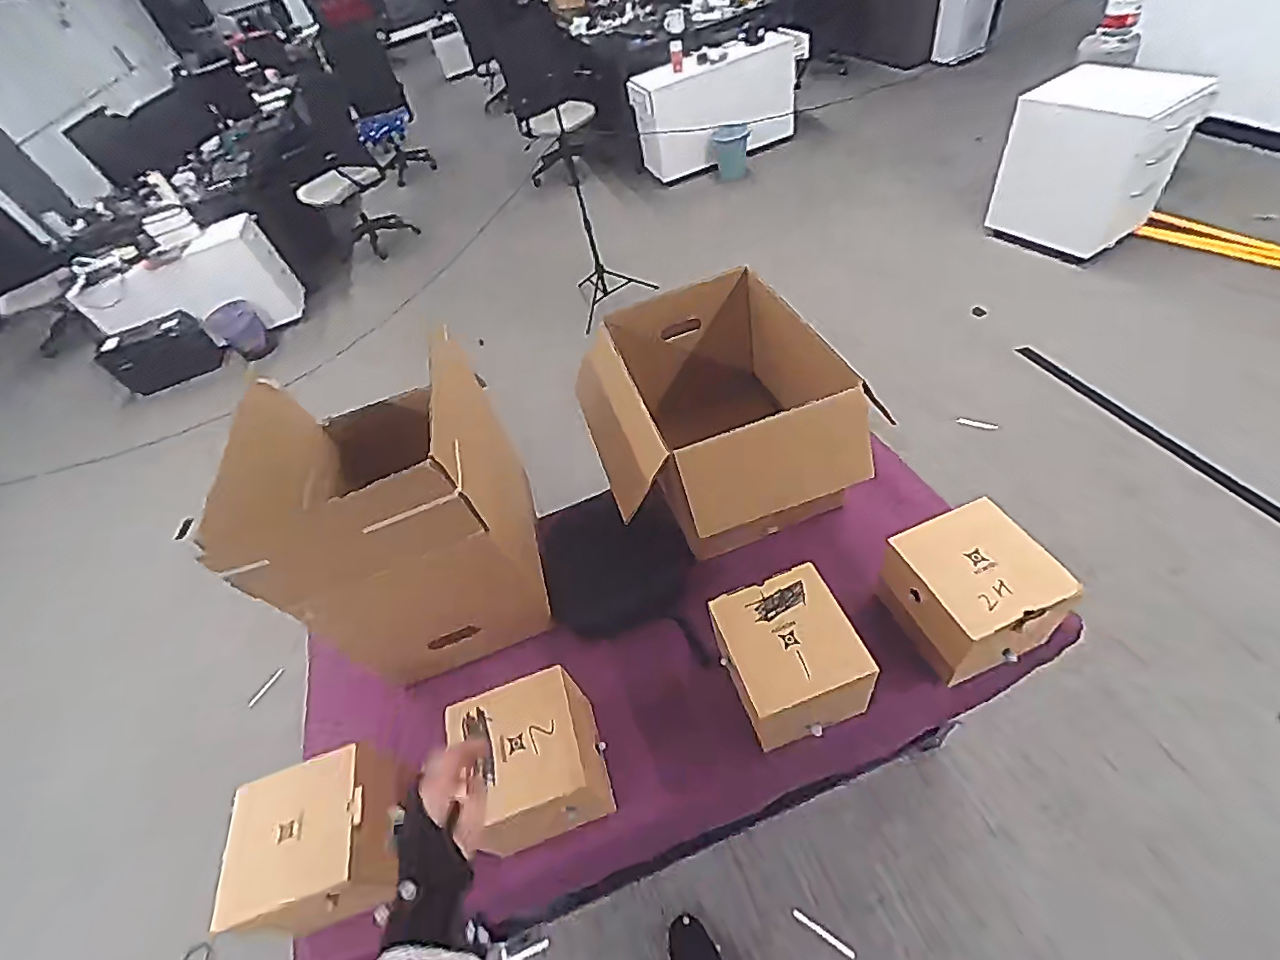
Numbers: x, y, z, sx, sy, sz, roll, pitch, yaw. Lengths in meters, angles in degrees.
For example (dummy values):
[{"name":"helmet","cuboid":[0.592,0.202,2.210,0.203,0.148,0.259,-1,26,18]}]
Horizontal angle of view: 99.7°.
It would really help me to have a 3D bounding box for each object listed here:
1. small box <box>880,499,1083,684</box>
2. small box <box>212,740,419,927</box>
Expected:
[{"name":"small box","cuboid":[0.477,0.165,0.793,0.168,0.176,0.179,-23,48,-3]},{"name":"small box","cuboid":[-0.436,0.501,0.760,0.179,0.176,0.168,-19,48,-3]}]
